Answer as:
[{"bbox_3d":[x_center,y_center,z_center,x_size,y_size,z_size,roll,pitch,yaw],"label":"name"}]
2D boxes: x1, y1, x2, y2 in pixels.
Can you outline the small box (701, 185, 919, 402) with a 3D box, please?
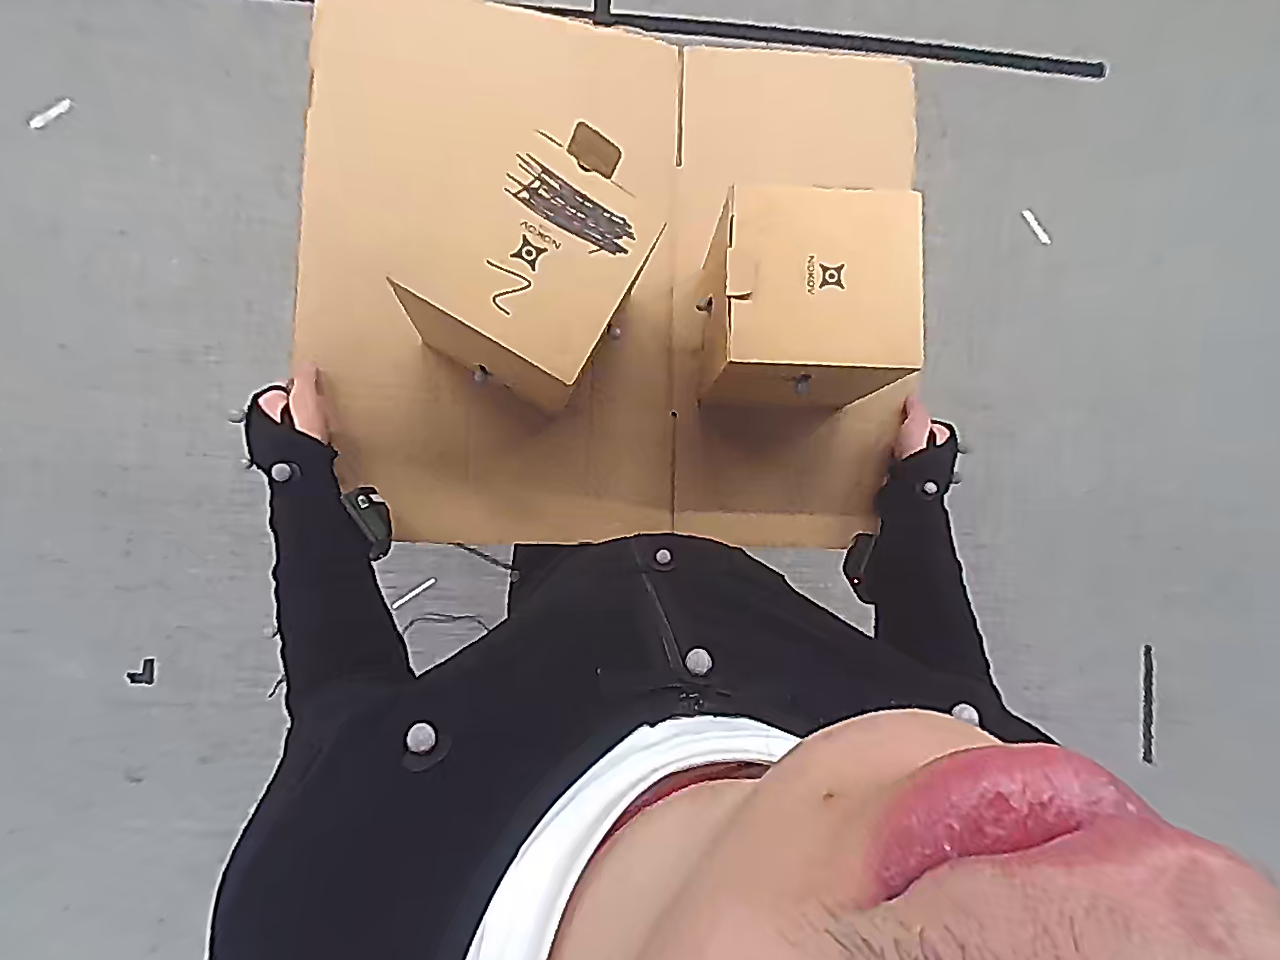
[{"bbox_3d":[0.166,-0.181,0.573,0.179,0.176,0.168,1,86,-2],"label":"small box"}]
